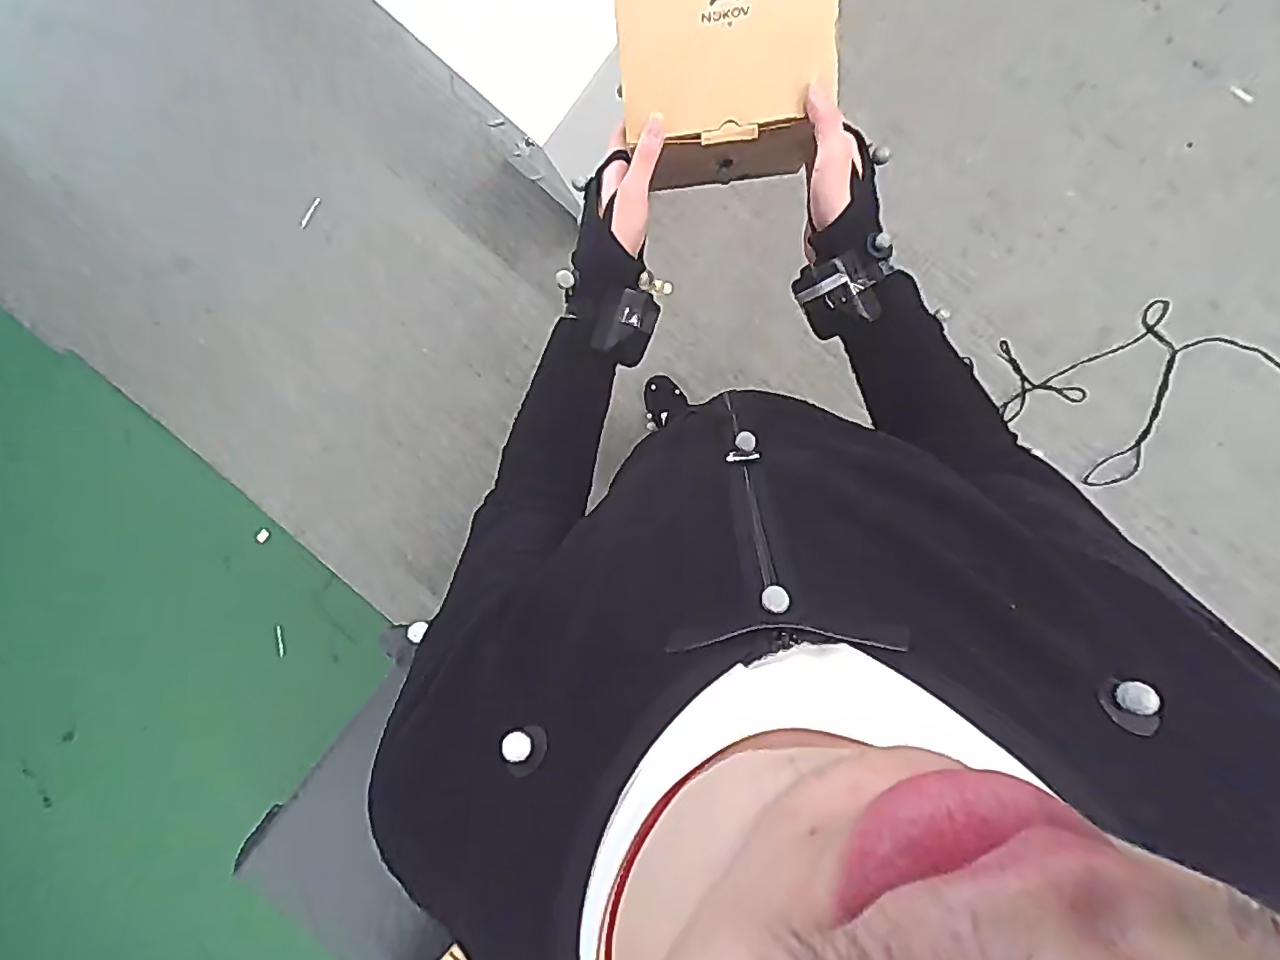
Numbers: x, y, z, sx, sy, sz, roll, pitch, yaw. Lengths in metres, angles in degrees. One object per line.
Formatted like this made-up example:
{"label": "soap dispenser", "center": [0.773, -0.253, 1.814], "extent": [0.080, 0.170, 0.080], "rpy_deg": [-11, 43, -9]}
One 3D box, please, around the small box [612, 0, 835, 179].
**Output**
{"label": "small box", "center": [0.072, -0.387, 0.482], "extent": [0.168, 0.176, 0.179], "rpy_deg": [-6, 105, 9]}
